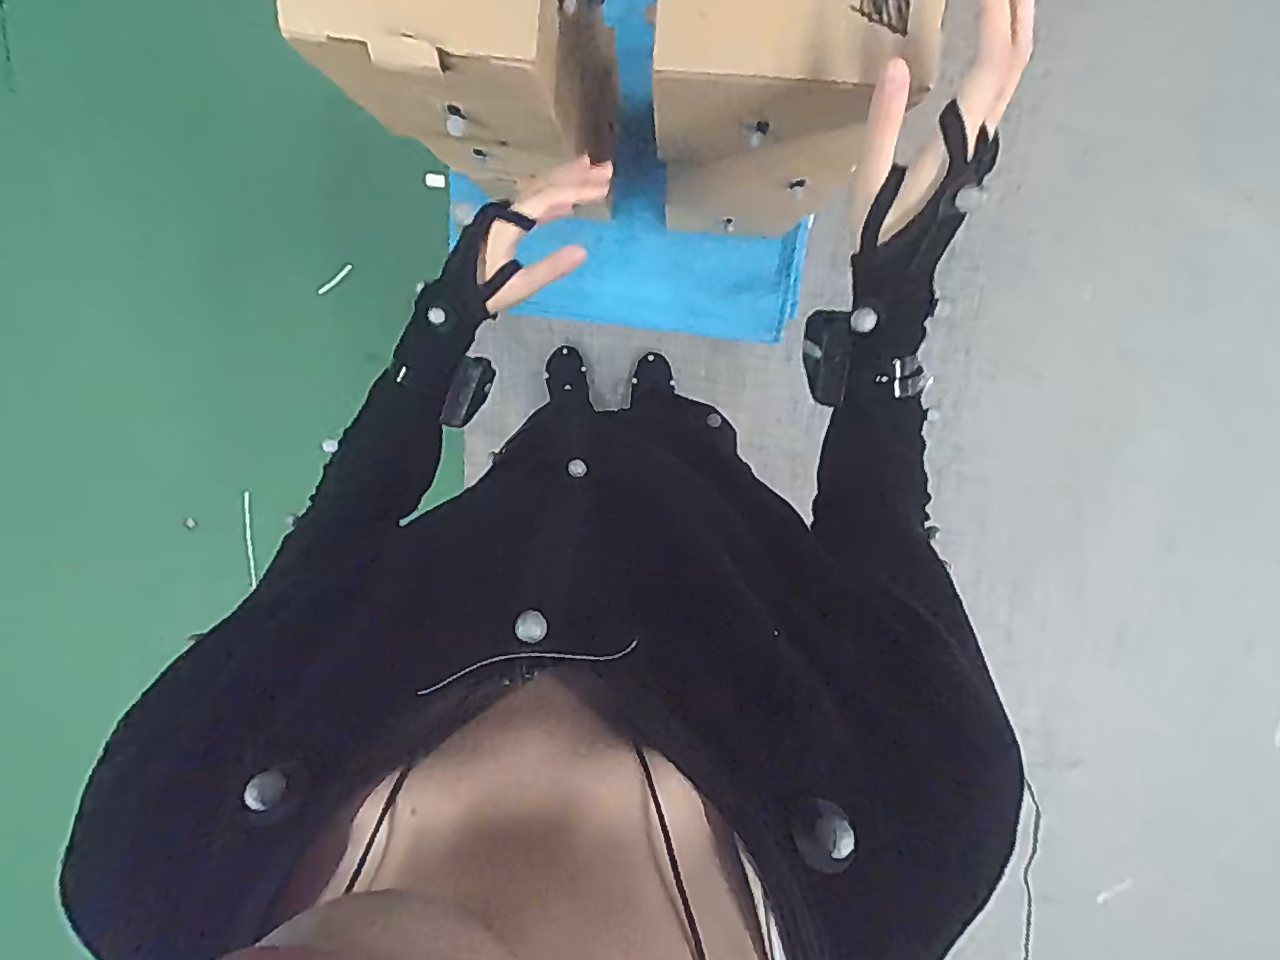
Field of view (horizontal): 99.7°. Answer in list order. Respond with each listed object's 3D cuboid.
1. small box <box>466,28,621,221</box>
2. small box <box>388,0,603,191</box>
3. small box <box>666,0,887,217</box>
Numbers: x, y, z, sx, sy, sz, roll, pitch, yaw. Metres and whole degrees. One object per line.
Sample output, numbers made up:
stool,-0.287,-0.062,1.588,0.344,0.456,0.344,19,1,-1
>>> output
small box,-0.117,-0.455,0.708,0.168,0.176,0.179,7,103,-1
small box,-0.133,-0.418,0.551,0.168,0.176,0.179,9,102,-1
small box,0.121,-0.377,0.547,0.179,0.176,0.168,5,103,2
